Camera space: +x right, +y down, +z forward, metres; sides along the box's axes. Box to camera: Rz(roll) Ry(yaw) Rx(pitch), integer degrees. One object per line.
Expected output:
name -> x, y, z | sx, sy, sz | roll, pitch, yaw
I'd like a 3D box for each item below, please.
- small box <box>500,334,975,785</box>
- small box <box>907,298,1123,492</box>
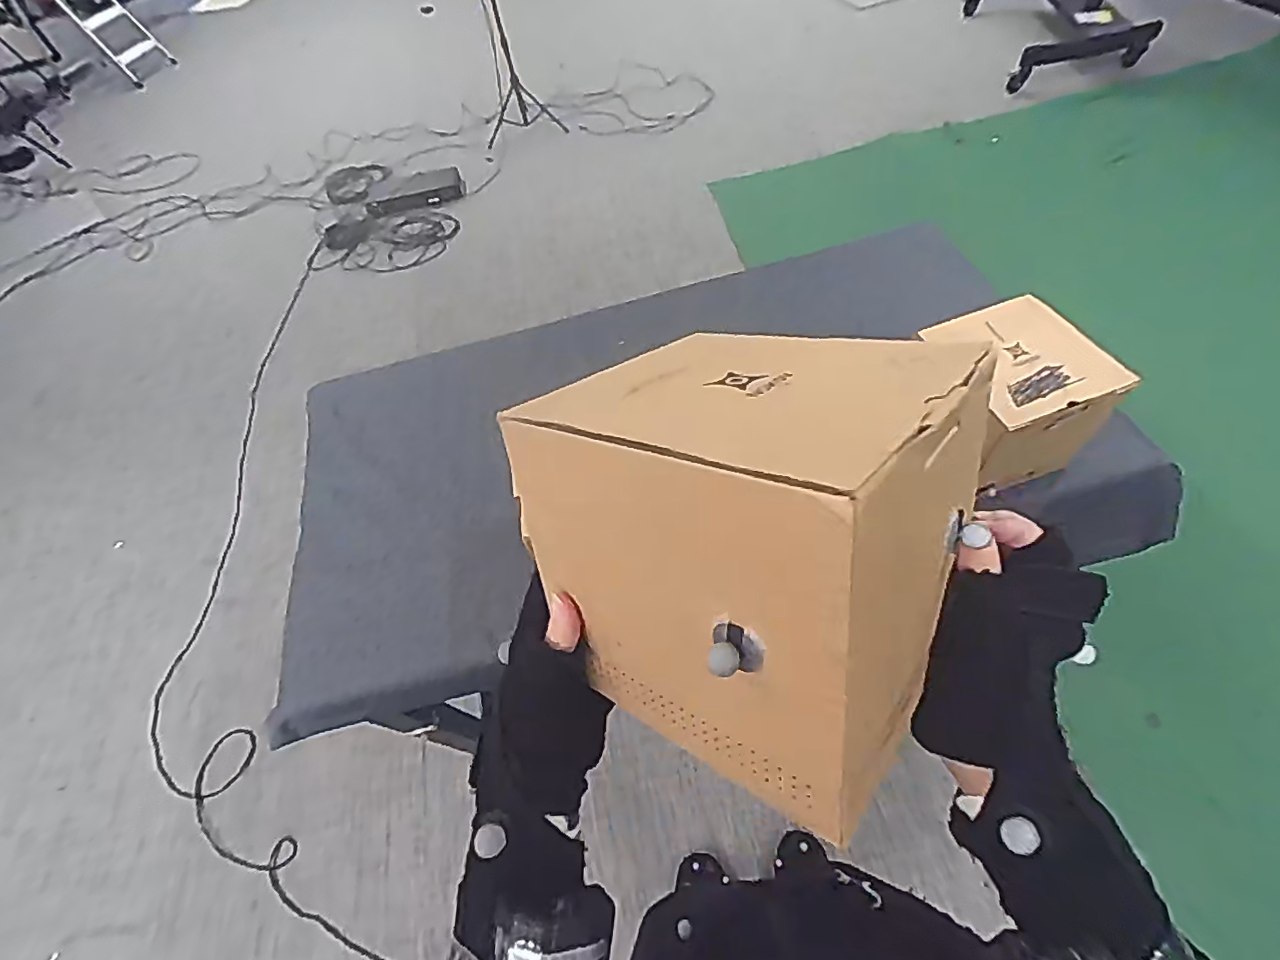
small box -> 0.056, 0.026, 0.299 | 0.179, 0.176, 0.168 | 14, 33, 39
small box -> 0.459, -0.103, 0.721 | 0.168, 0.176, 0.179 | -18, 55, -4
